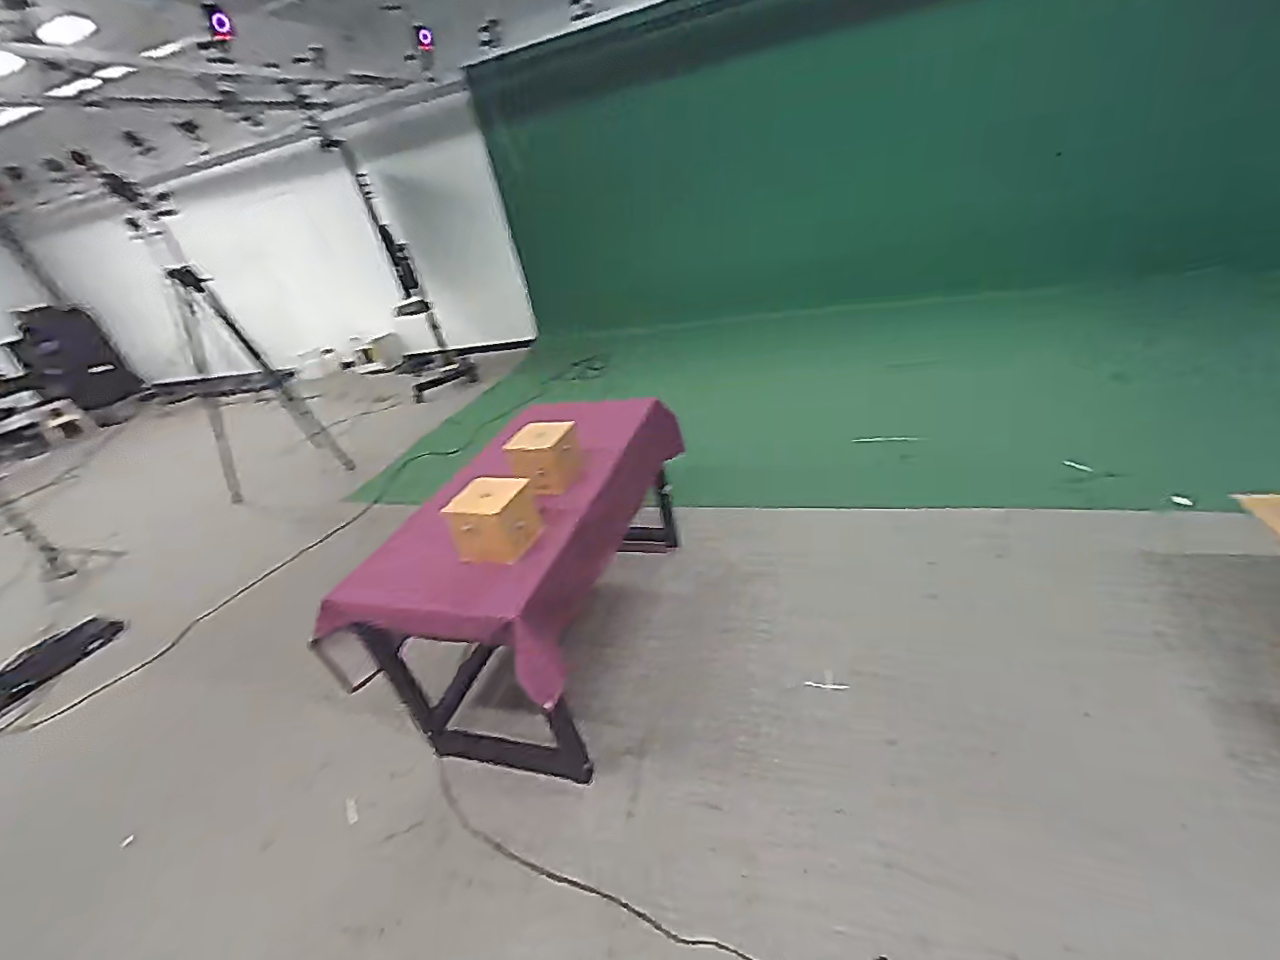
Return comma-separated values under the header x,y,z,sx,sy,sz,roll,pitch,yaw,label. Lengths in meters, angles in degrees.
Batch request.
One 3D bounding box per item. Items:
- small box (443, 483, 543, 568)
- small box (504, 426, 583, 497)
x,y,z,sx,sy,sz,roll,pitch,yaw,label
-0.388,0.123,1.465,0.179,0.176,0.168,0,32,24,small box
-0.301,-0.057,1.733,0.168,0.176,0.179,0,32,22,small box
